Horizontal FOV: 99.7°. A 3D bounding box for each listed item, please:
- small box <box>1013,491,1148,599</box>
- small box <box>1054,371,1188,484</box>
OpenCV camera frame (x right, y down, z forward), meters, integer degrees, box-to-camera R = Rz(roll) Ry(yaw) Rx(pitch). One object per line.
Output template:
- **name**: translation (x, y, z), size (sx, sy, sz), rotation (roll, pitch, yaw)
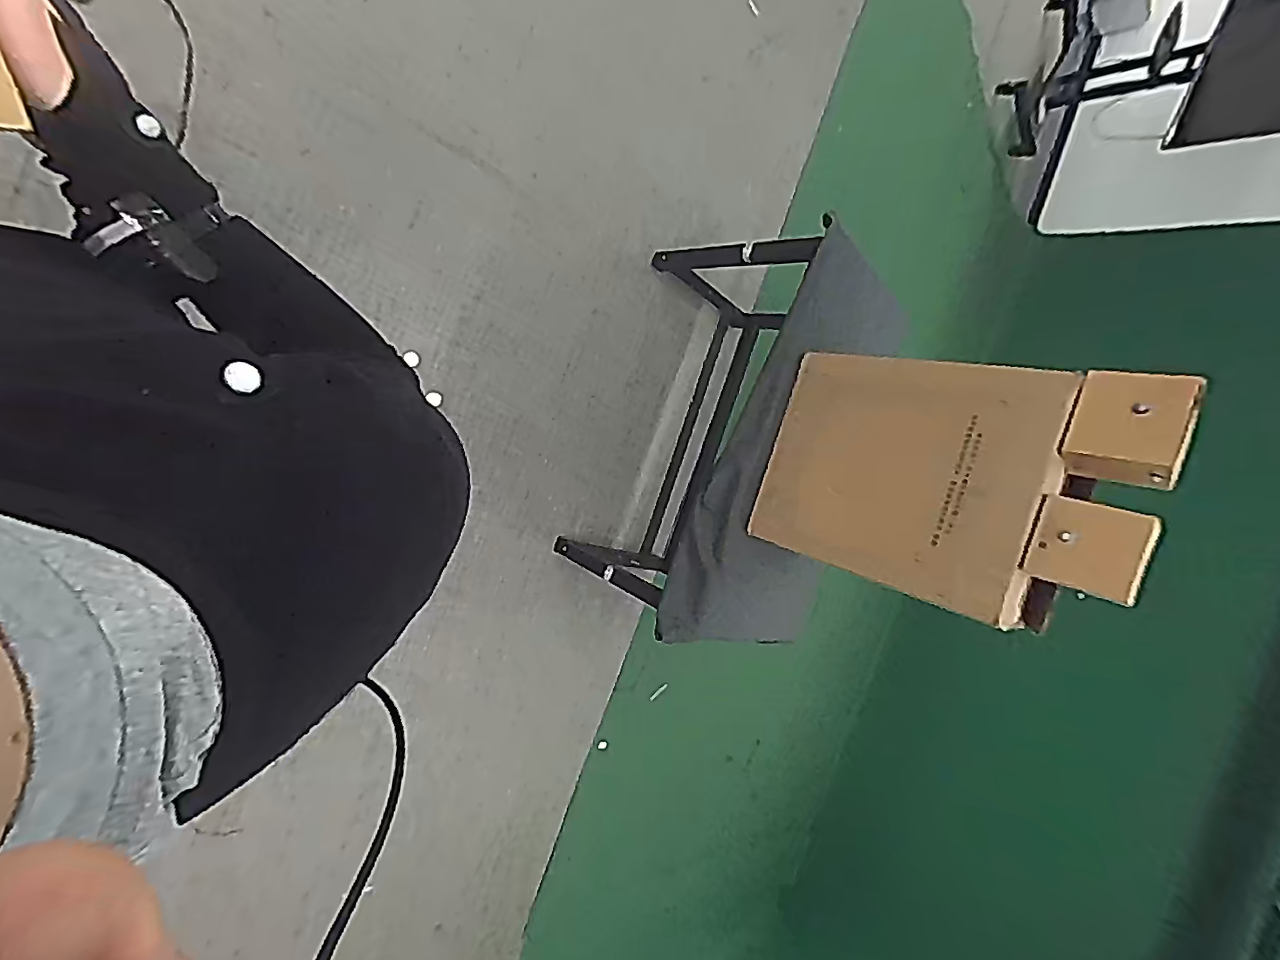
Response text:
- **small box**: translation (0.890, 0.130, 1.095), size (0.179, 0.176, 0.168), rotation (16, 92, -45)
- **small box**: translation (0.959, -0.110, 1.088), size (0.168, 0.176, 0.179), rotation (22, 86, -45)
